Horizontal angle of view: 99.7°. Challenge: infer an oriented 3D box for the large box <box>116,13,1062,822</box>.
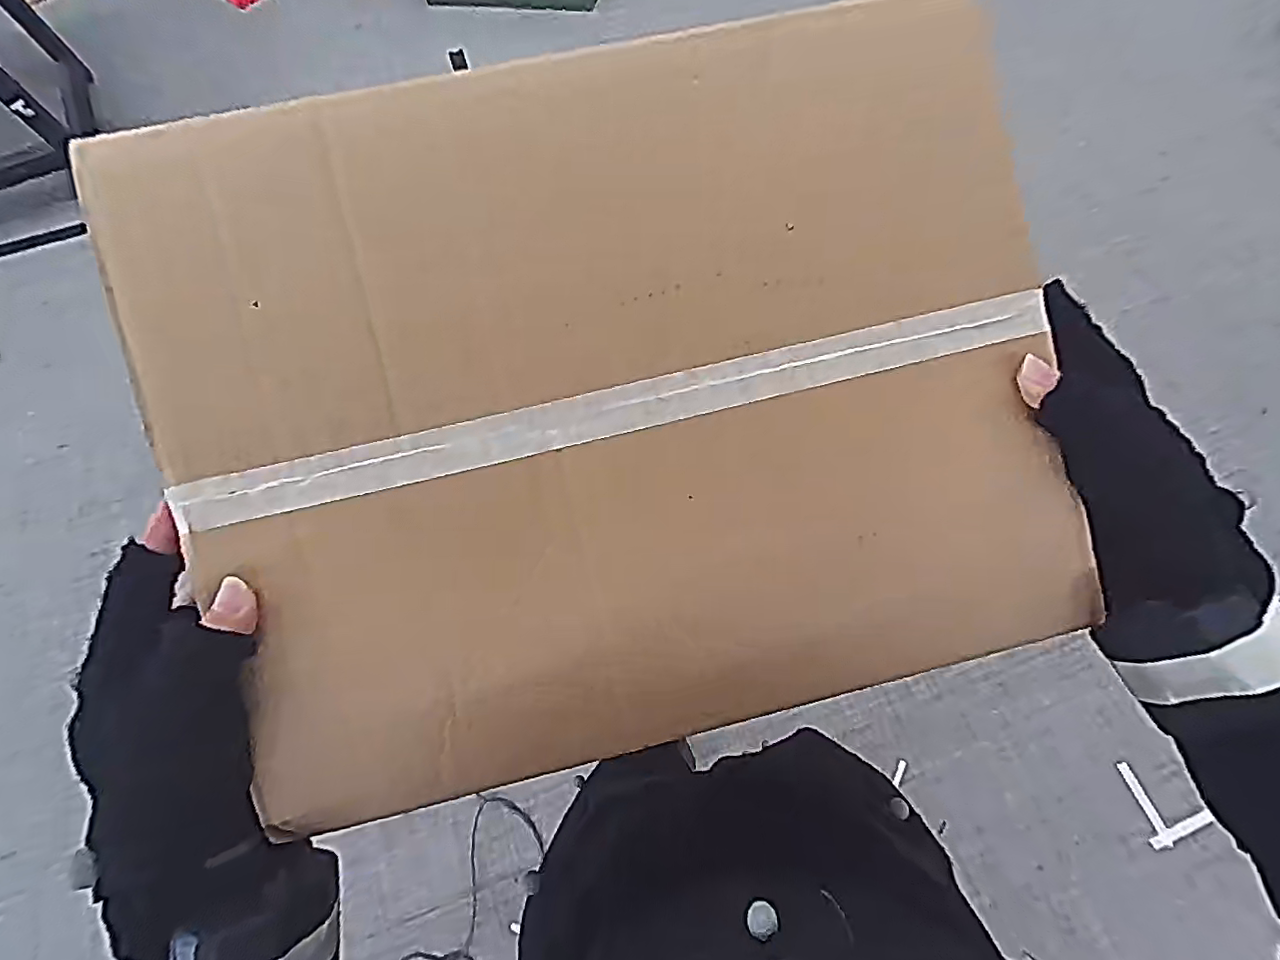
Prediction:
[{"bbox_3d":[-0.015,-0.040,0.406,0.408,0.320,0.320,-13,93,-4],"label":"large box"}]
